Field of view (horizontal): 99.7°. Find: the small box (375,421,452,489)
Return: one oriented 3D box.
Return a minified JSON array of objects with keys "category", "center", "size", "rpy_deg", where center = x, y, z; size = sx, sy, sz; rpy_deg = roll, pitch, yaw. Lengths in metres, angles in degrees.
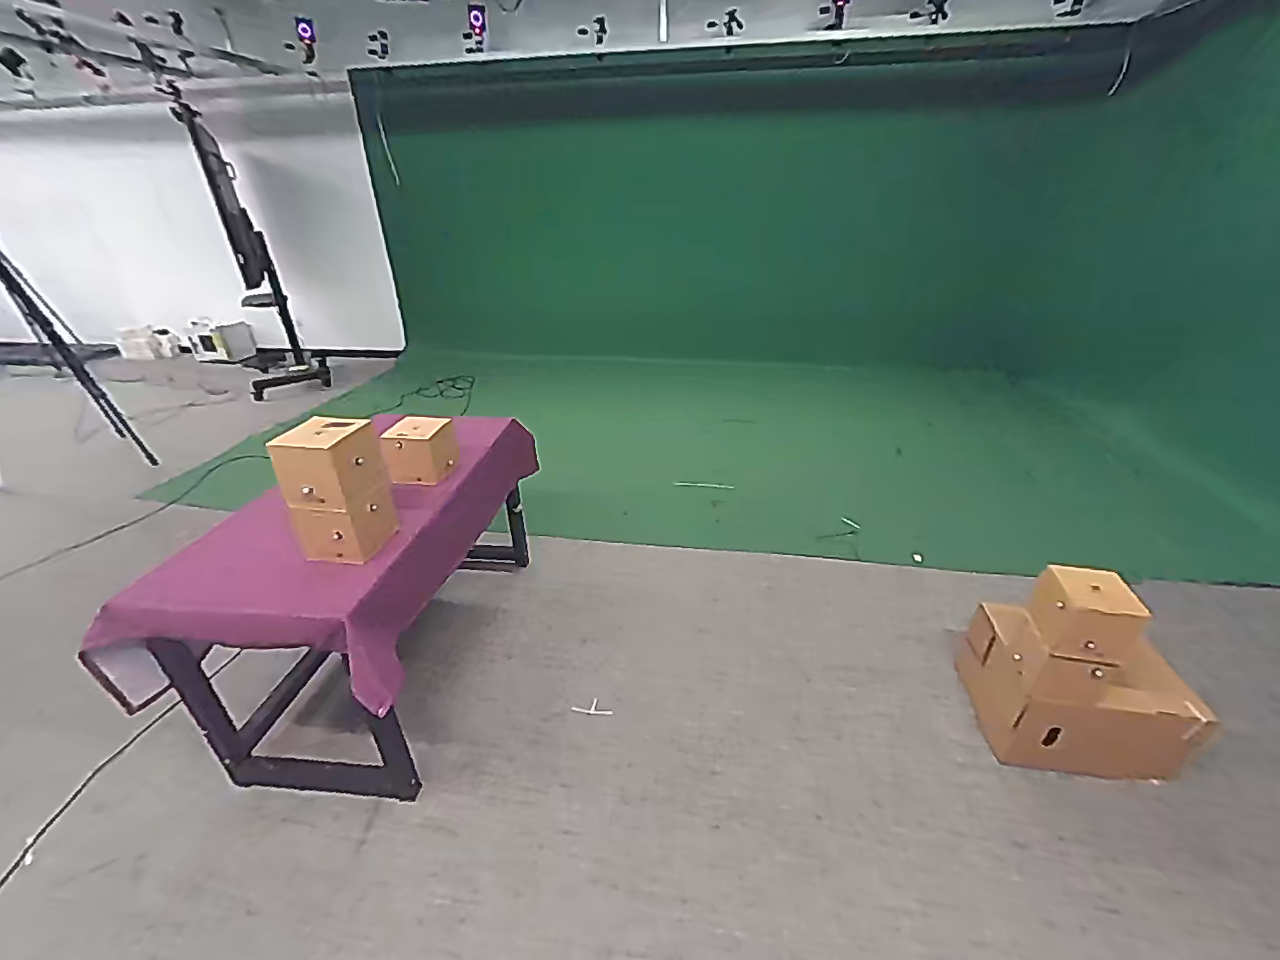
[{"category":"small box","center":[-0.742,-0.087,1.797],"size":[0.168,0.176,0.179],"rpy_deg":[3,28,8]}]

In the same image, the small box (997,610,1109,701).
[{"category":"small box","center":[1.154,0.497,1.528],"size":[0.179,0.176,0.168],"rpy_deg":[5,29,9]}]

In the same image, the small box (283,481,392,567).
[{"category":"small box","center":[-0.785,0.112,1.427],"size":[0.168,0.176,0.179],"rpy_deg":[4,28,9]}]

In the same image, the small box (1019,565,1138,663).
[{"category":"small box","center":[1.156,0.355,1.446],"size":[0.168,0.176,0.179],"rpy_deg":[6,31,10]}]

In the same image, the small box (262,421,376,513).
[{"category":"small box","center":[-0.789,-0.036,1.355],"size":[0.168,0.176,0.179],"rpy_deg":[4,29,8]}]
